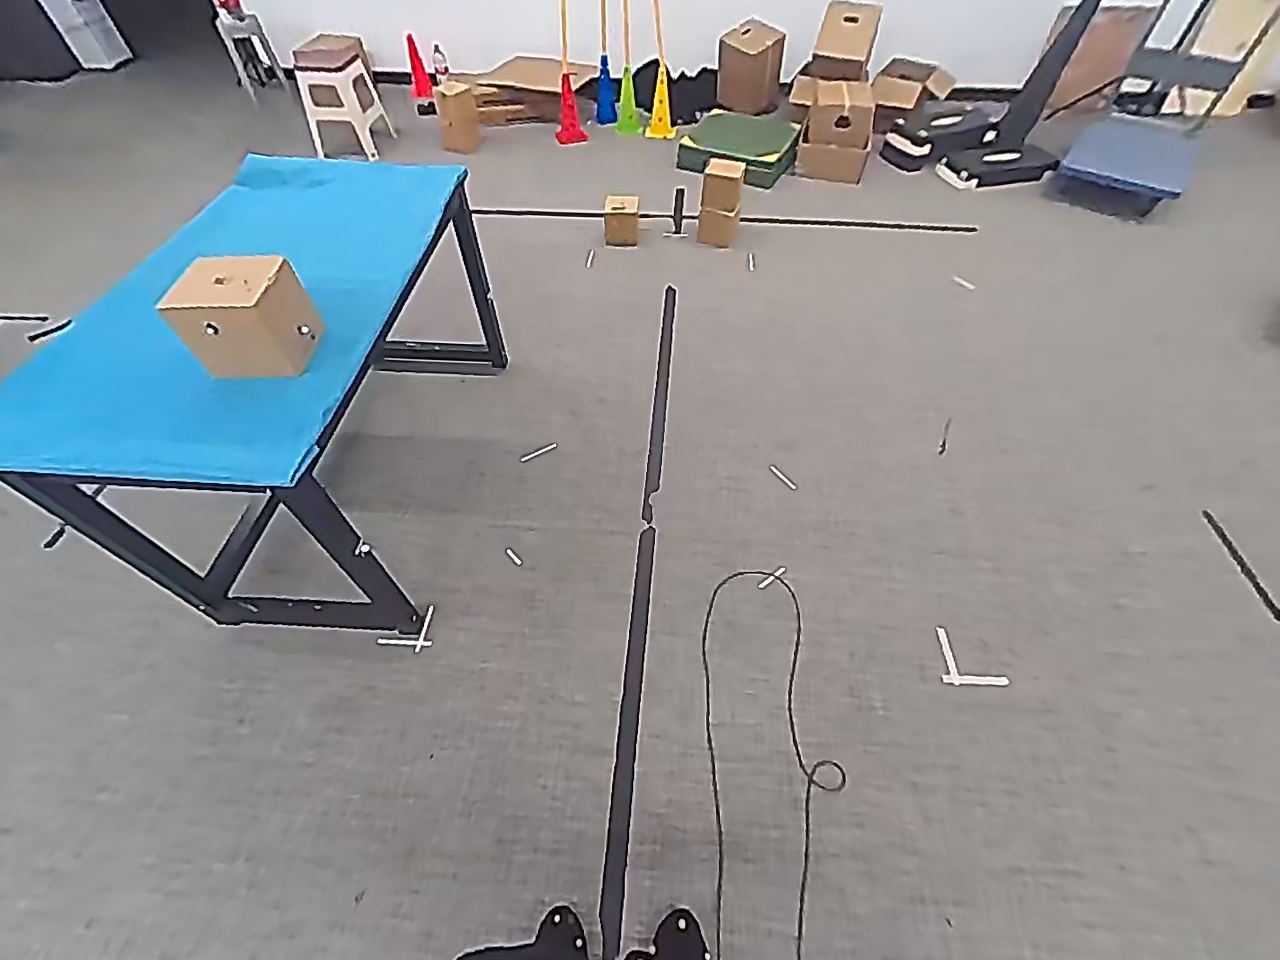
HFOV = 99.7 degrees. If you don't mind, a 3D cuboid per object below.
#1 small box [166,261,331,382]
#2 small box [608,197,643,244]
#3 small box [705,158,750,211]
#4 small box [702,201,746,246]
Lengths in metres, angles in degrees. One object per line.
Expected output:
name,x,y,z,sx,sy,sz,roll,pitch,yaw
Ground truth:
small box,-0.762,-0.312,1.076,0.179,0.176,0.168,3,53,0
small box,-0.071,-1.324,2.762,0.168,0.176,0.179,2,52,2
small box,0.423,-1.444,2.648,0.179,0.176,0.168,15,55,10
small box,0.423,-1.322,2.762,0.179,0.176,0.168,17,54,11
